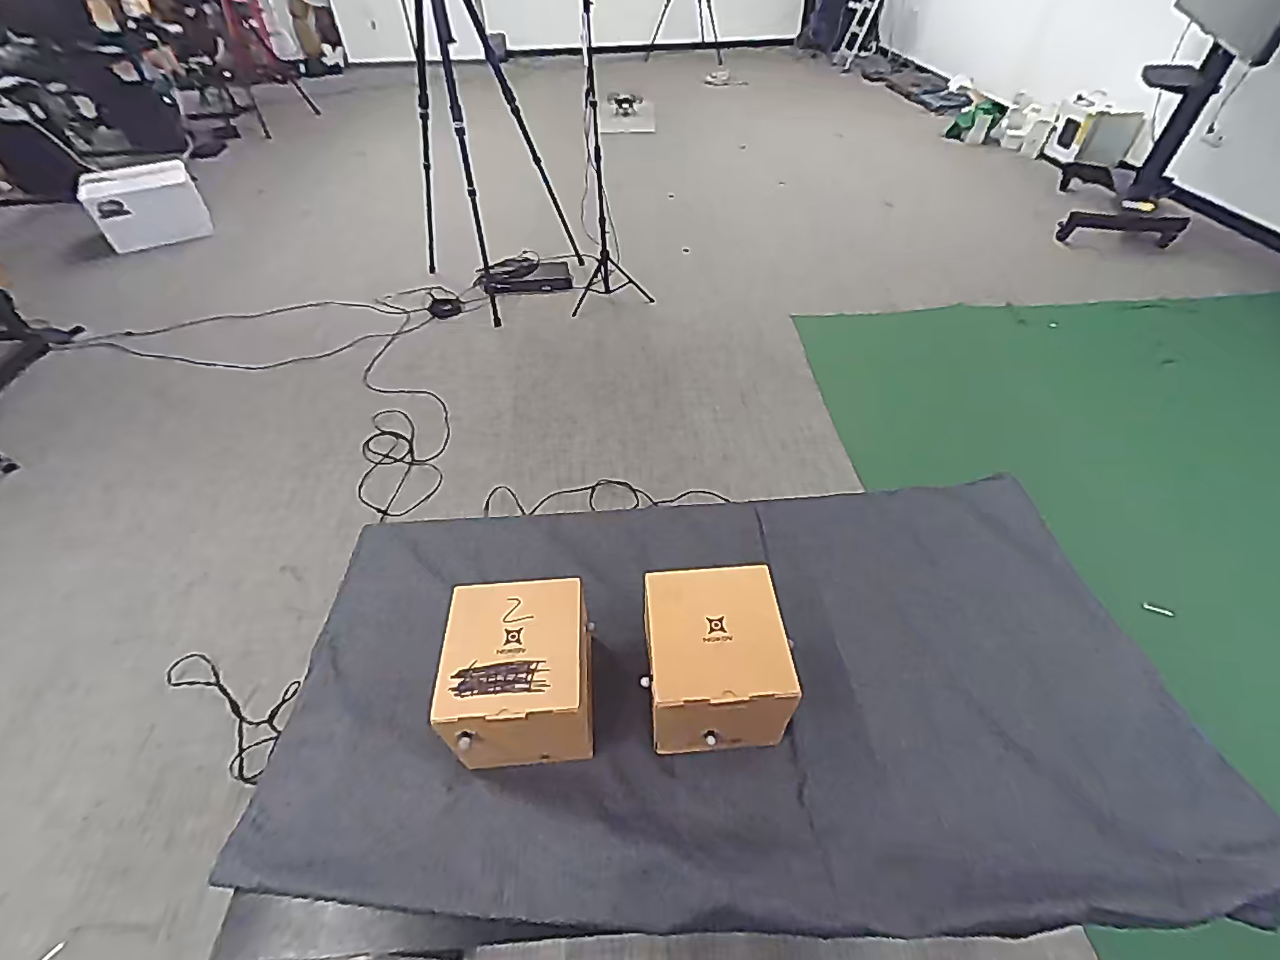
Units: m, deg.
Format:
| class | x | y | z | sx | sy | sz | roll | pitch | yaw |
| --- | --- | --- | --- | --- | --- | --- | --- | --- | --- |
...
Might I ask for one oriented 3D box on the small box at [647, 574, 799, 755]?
| class | x | y | z | sx | sy | sz | roll | pitch | yaw |
| --- | --- | --- | --- | --- | --- | --- | --- | --- | --- |
| small box | 0.096 | 0.248 | 0.729 | 0.168 | 0.176 | 0.179 | -4 | 47 | -2 |
